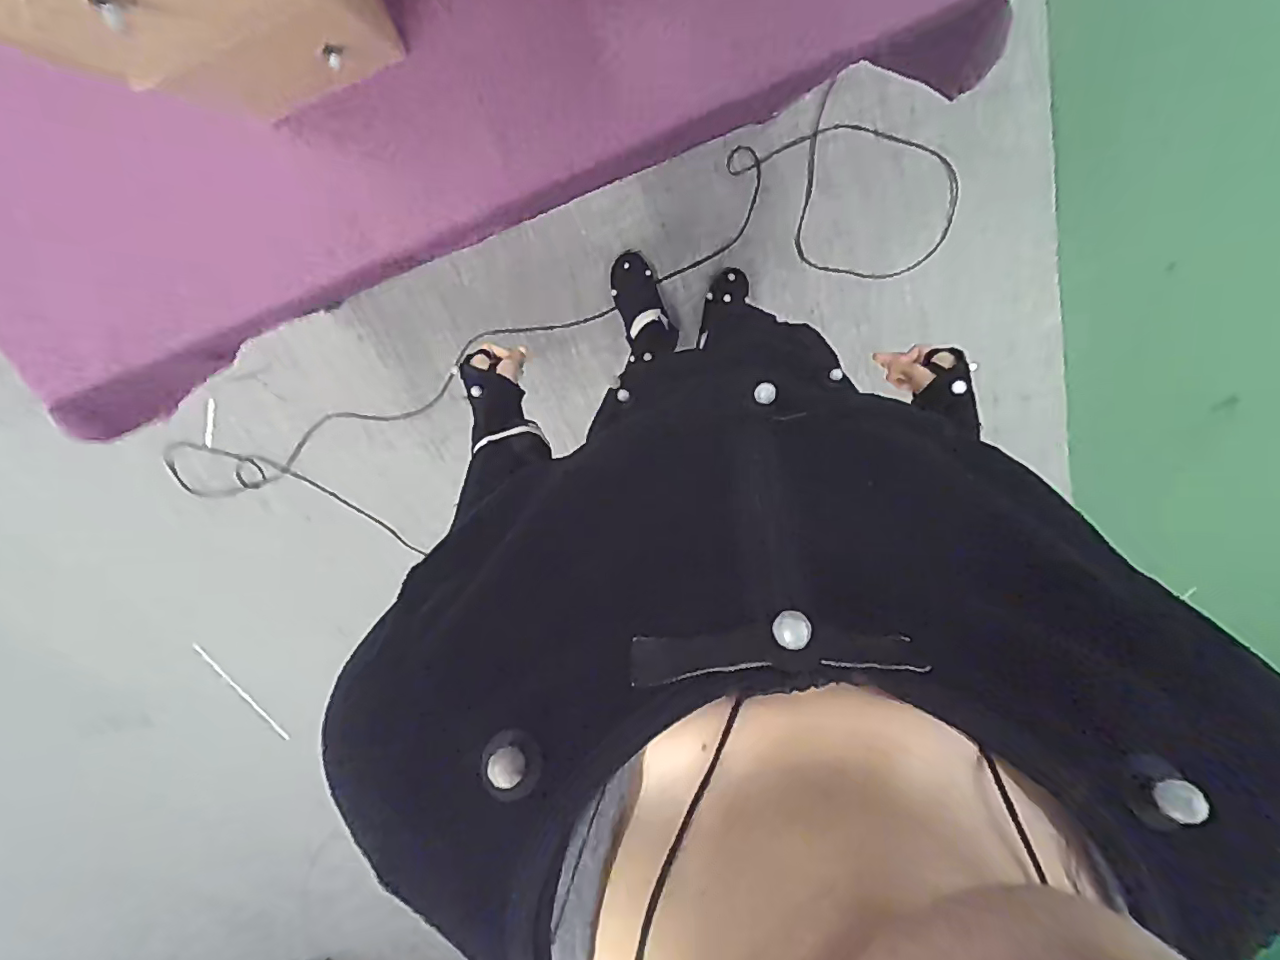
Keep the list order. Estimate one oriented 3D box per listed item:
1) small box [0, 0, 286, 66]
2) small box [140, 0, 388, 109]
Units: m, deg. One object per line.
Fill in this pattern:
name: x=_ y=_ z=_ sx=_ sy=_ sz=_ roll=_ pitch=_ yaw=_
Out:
small box: x=-0.339 y=-0.381 z=0.310 sx=0.179 sy=0.176 sz=0.168 roll=-20 pitch=114 yaw=6
small box: x=-0.344 y=-0.452 z=0.458 sx=0.179 sy=0.176 sz=0.168 roll=-20 pitch=113 yaw=6
